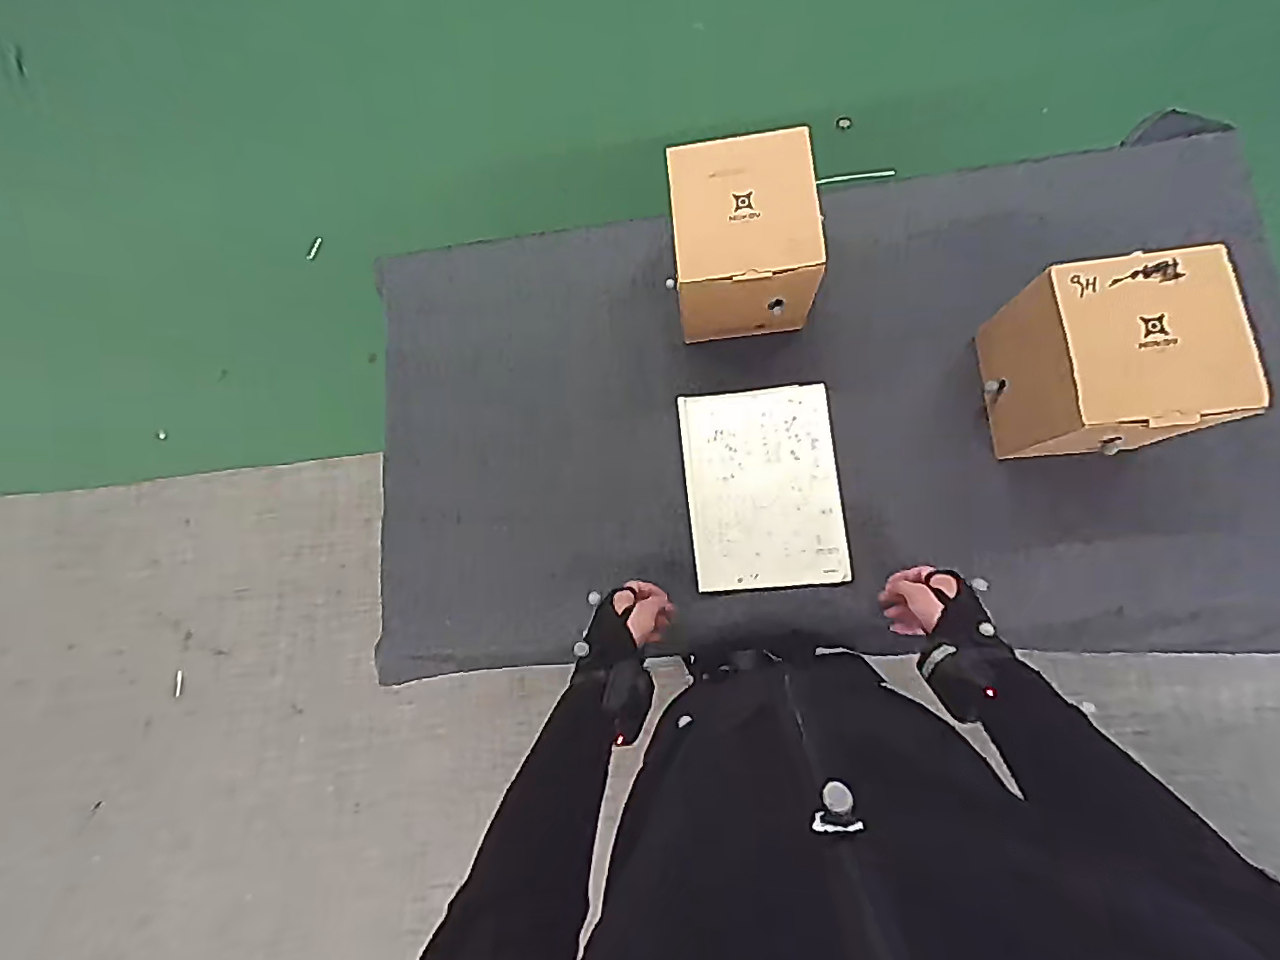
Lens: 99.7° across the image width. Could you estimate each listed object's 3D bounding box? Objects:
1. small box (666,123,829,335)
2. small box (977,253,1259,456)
[{"bbox_3d":[0.126,-0.296,0.679,0.168,0.176,0.179,-6,80,5],"label":"small box"},{"bbox_3d":[0.520,-0.126,0.618,0.168,0.176,0.179,-5,82,6],"label":"small box"}]
